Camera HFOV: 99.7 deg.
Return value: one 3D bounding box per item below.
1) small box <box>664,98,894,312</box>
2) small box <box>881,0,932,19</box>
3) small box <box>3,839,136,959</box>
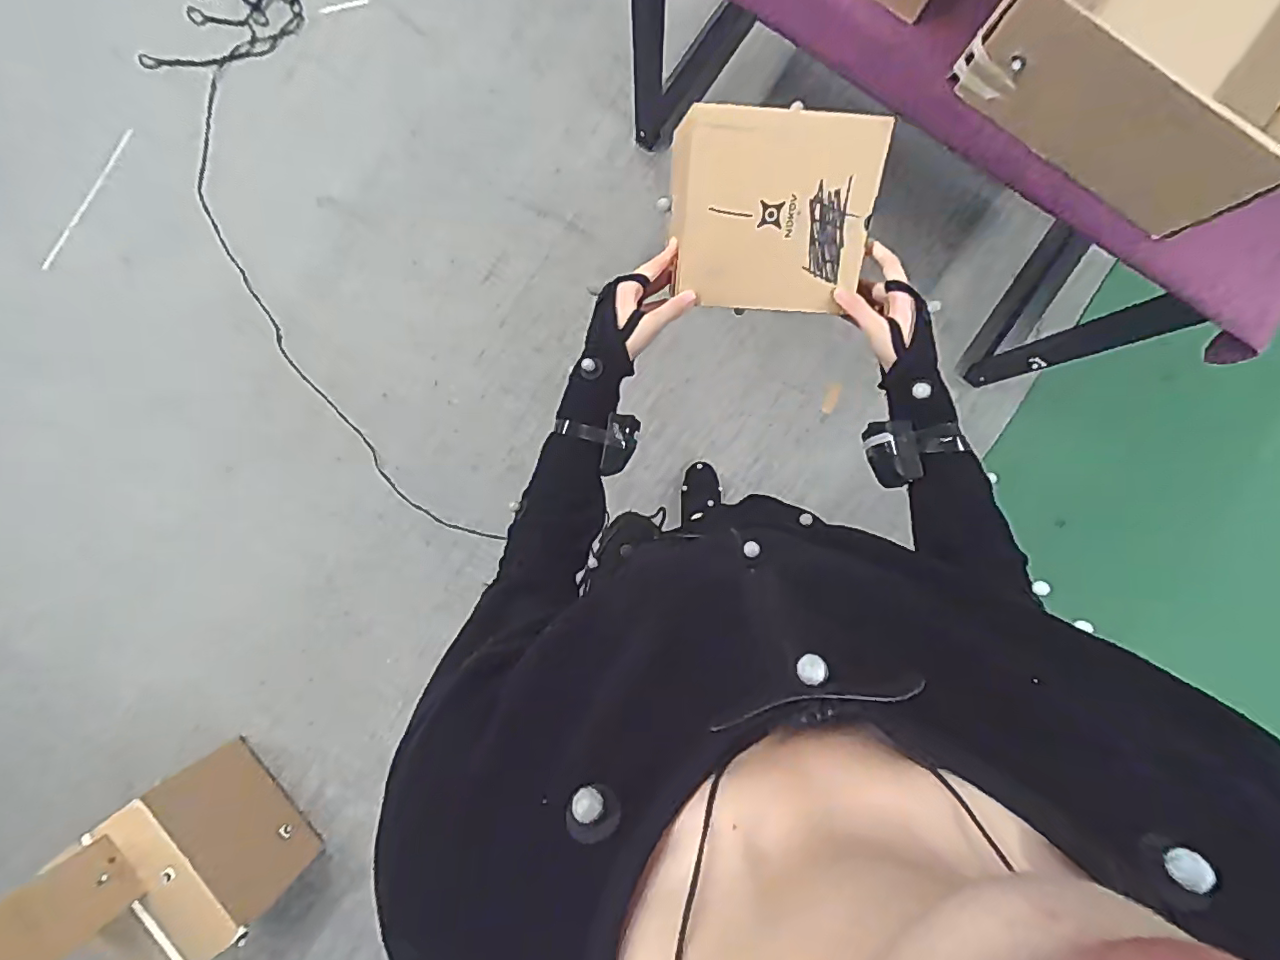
[{"bbox_3d":[0.124,-0.277,0.563,0.179,0.176,0.168,2,115,-3],"label":"small box"},{"bbox_3d":[0.380,-0.775,0.706,0.168,0.176,0.179,37,89,0],"label":"small box"},{"bbox_3d":[-1.246,0.919,1.142,0.179,0.176,0.168,-37,89,2],"label":"small box"}]
